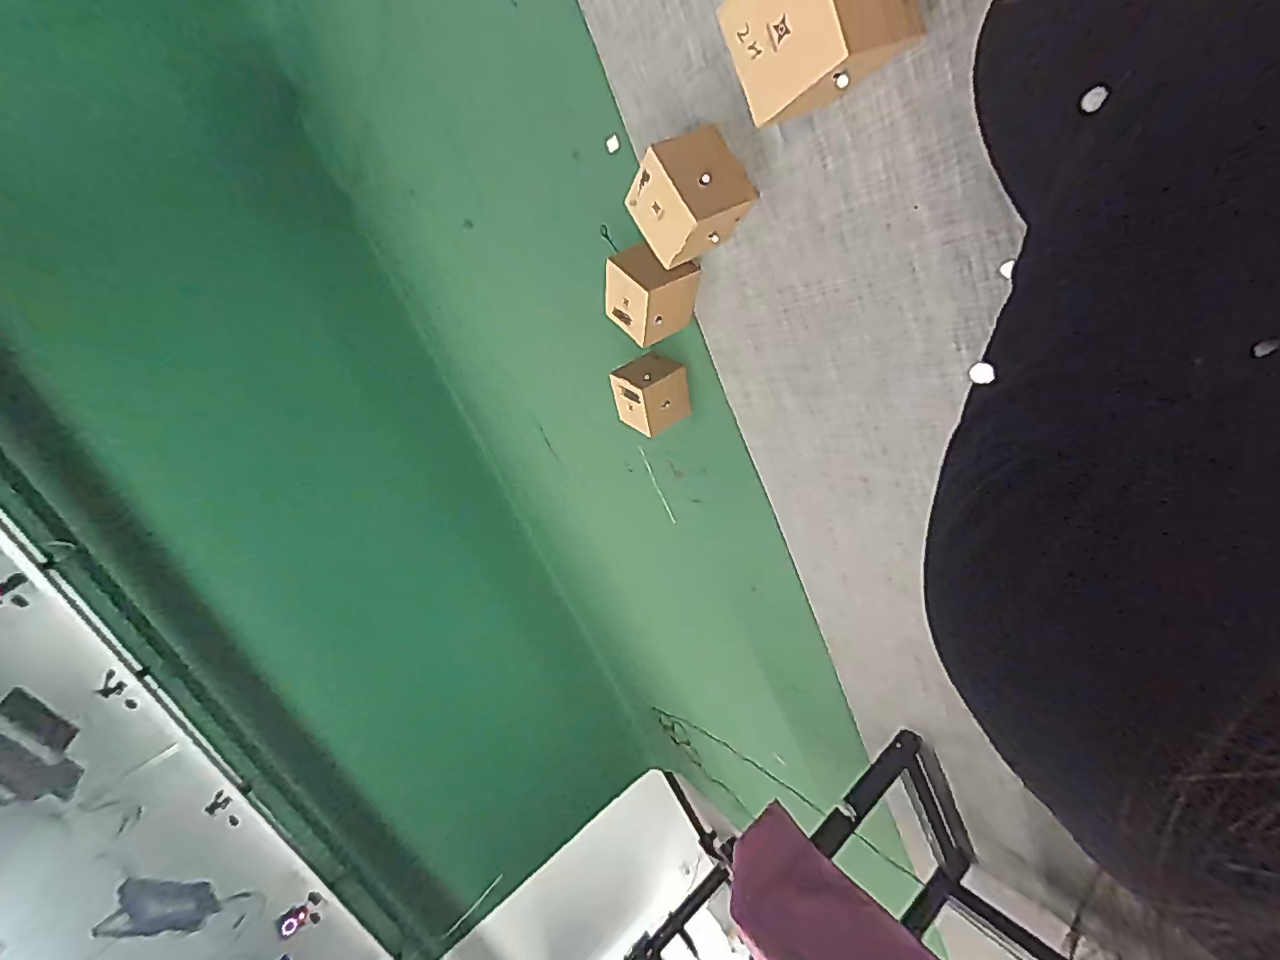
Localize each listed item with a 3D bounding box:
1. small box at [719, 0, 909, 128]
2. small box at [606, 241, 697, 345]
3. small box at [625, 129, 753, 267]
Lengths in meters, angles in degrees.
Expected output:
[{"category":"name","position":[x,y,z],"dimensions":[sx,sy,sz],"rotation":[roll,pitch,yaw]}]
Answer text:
[{"category":"small box","position":[0.250,-0.644,0.763],"dimensions":[0.179,0.176,0.168],"rotation":[6,124,61]},{"category":"small box","position":[0.028,-0.491,1.402],"dimensions":[0.168,0.176,0.179],"rotation":[47,154,23]},{"category":"small box","position":[0.103,-0.588,1.129],"dimensions":[0.179,0.176,0.168],"rotation":[58,157,-1]}]
